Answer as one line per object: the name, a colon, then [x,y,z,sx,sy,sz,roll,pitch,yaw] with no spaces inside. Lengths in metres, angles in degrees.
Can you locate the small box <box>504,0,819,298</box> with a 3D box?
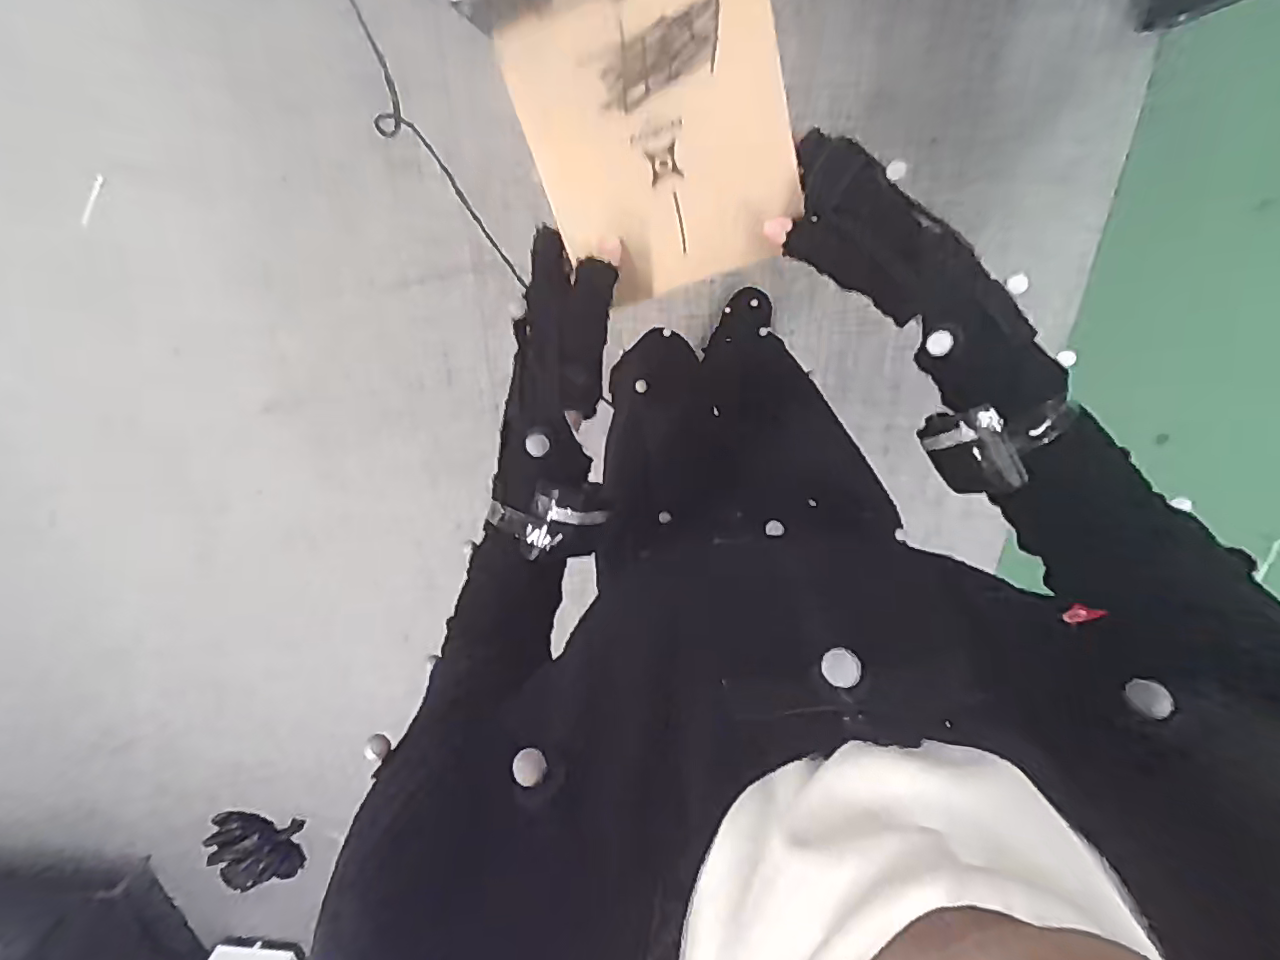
small box: [0.020,-0.259,0.410,0.168,0.176,0.179,-15,118,8]
